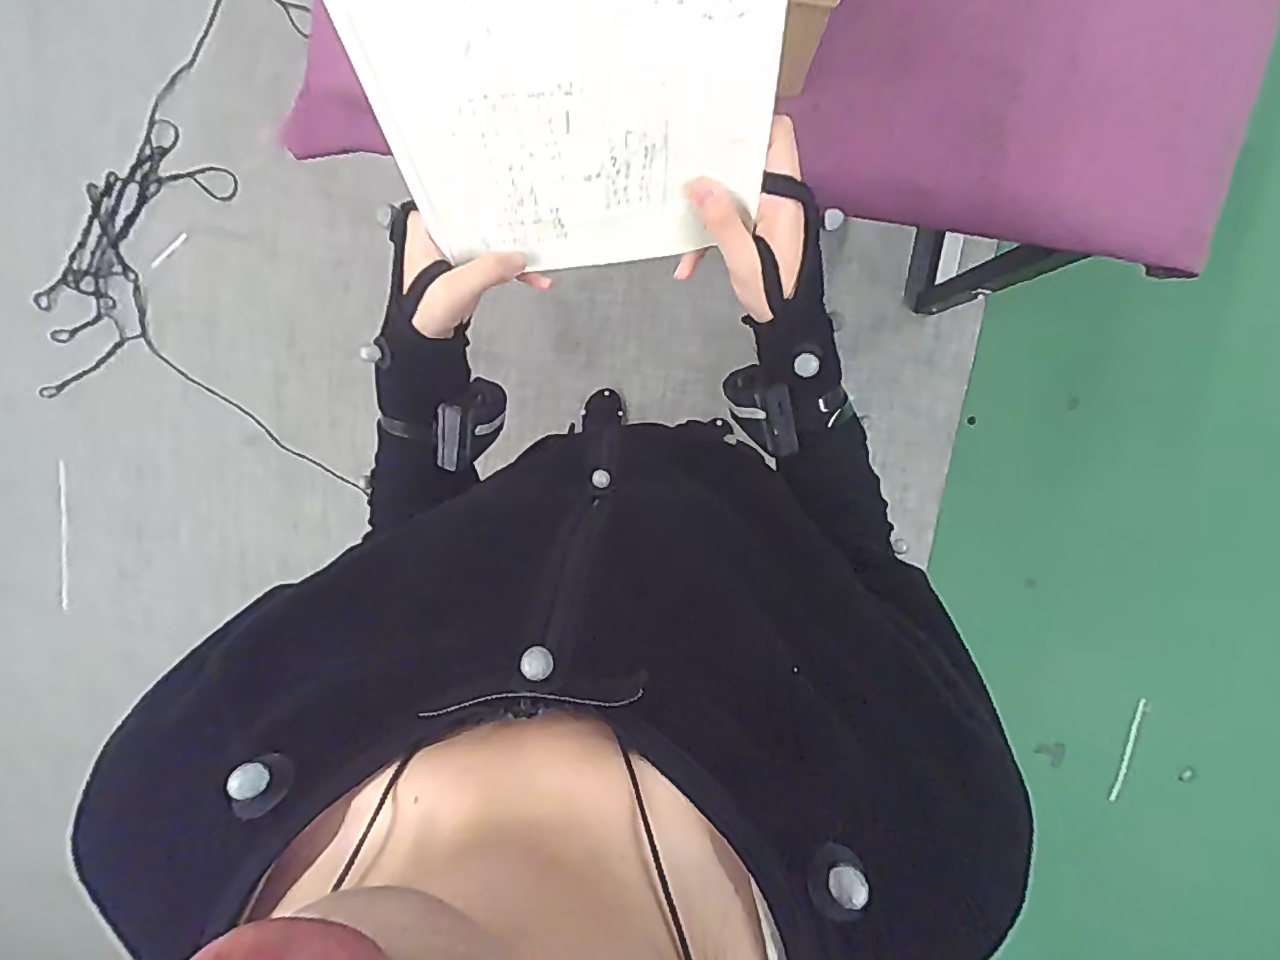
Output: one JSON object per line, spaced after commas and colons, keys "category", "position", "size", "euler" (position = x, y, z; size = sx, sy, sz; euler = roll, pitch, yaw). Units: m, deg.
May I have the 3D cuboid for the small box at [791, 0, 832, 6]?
{"category": "small box", "position": [0.127, -0.560, 0.457], "size": [0.168, 0.176, 0.179], "euler": [11, 96, 1]}
